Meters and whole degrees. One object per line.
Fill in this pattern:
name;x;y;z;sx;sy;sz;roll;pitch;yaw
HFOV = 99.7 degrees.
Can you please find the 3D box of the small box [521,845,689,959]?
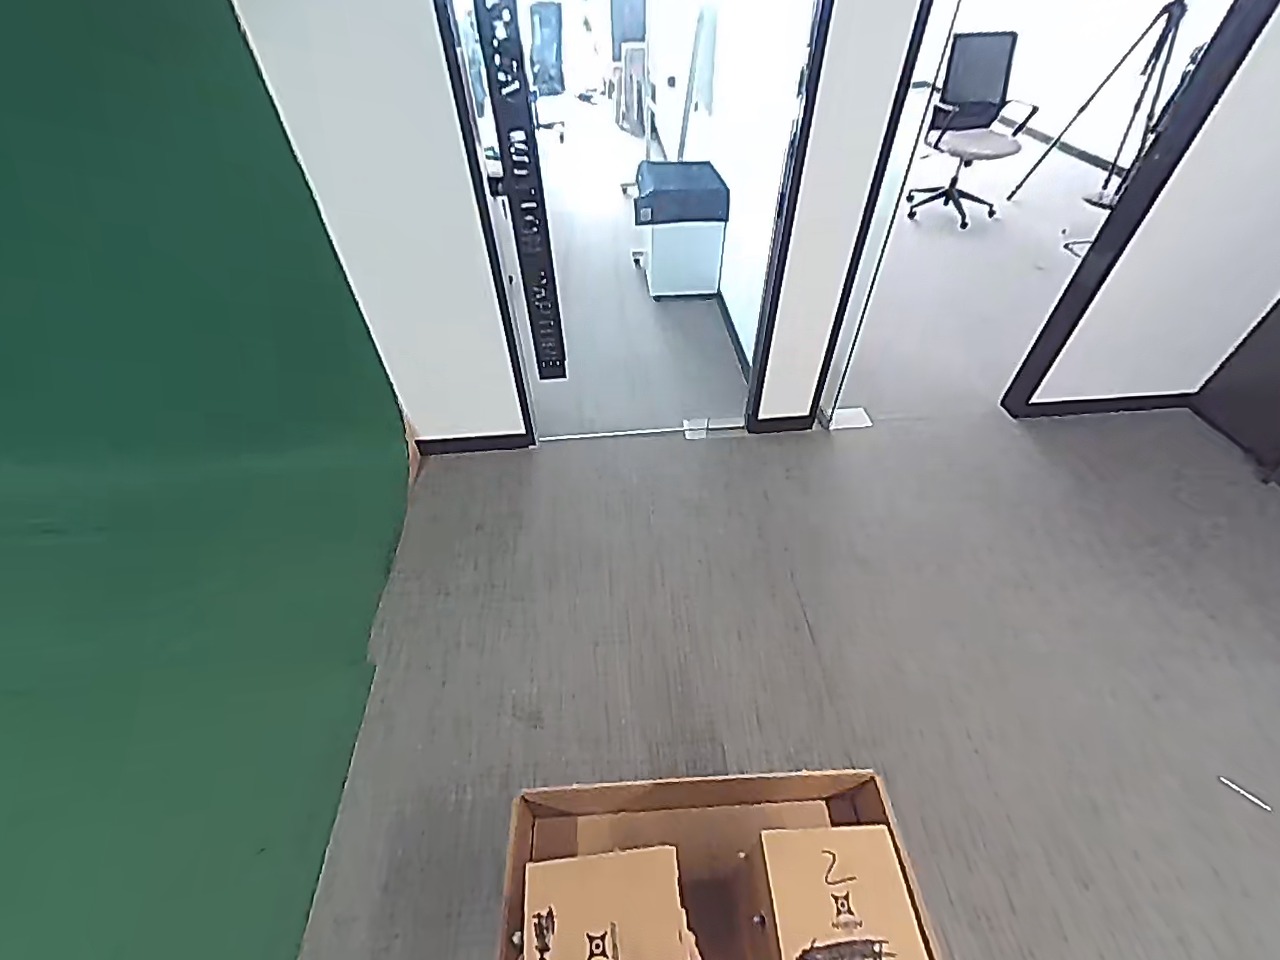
small box;-0.040;0.541;0.628;0.179;0.176;0.168;-3;47;-5
